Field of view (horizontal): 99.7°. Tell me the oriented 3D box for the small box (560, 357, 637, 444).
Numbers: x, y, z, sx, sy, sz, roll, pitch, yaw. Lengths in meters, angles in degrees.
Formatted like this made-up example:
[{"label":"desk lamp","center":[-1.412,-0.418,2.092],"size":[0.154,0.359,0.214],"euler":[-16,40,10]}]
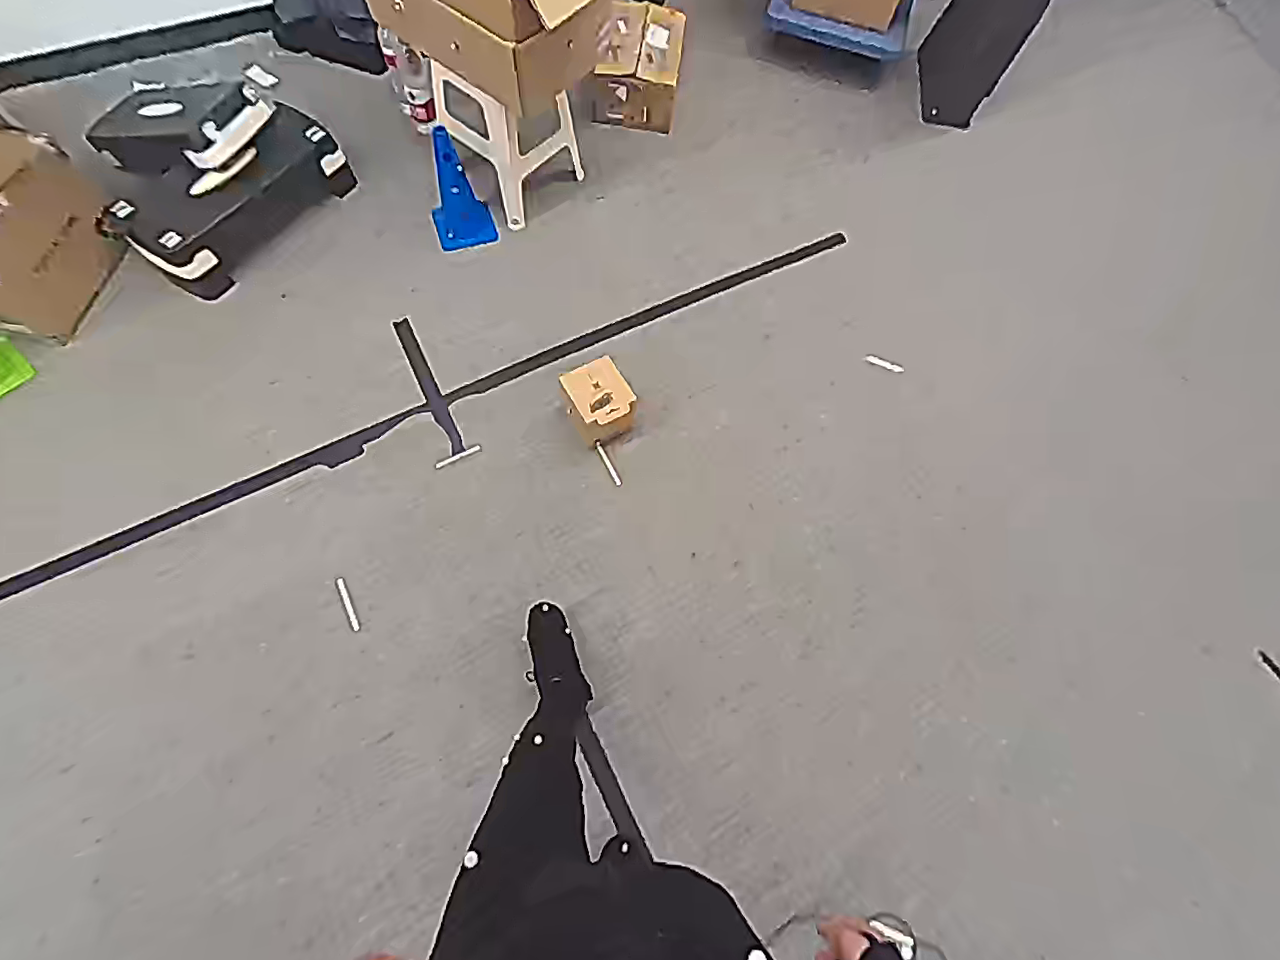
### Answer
[{"label":"small box","center":[-0.124,-0.226,1.612],"size":[0.168,0.176,0.179],"euler":[-27,73,-14]}]
